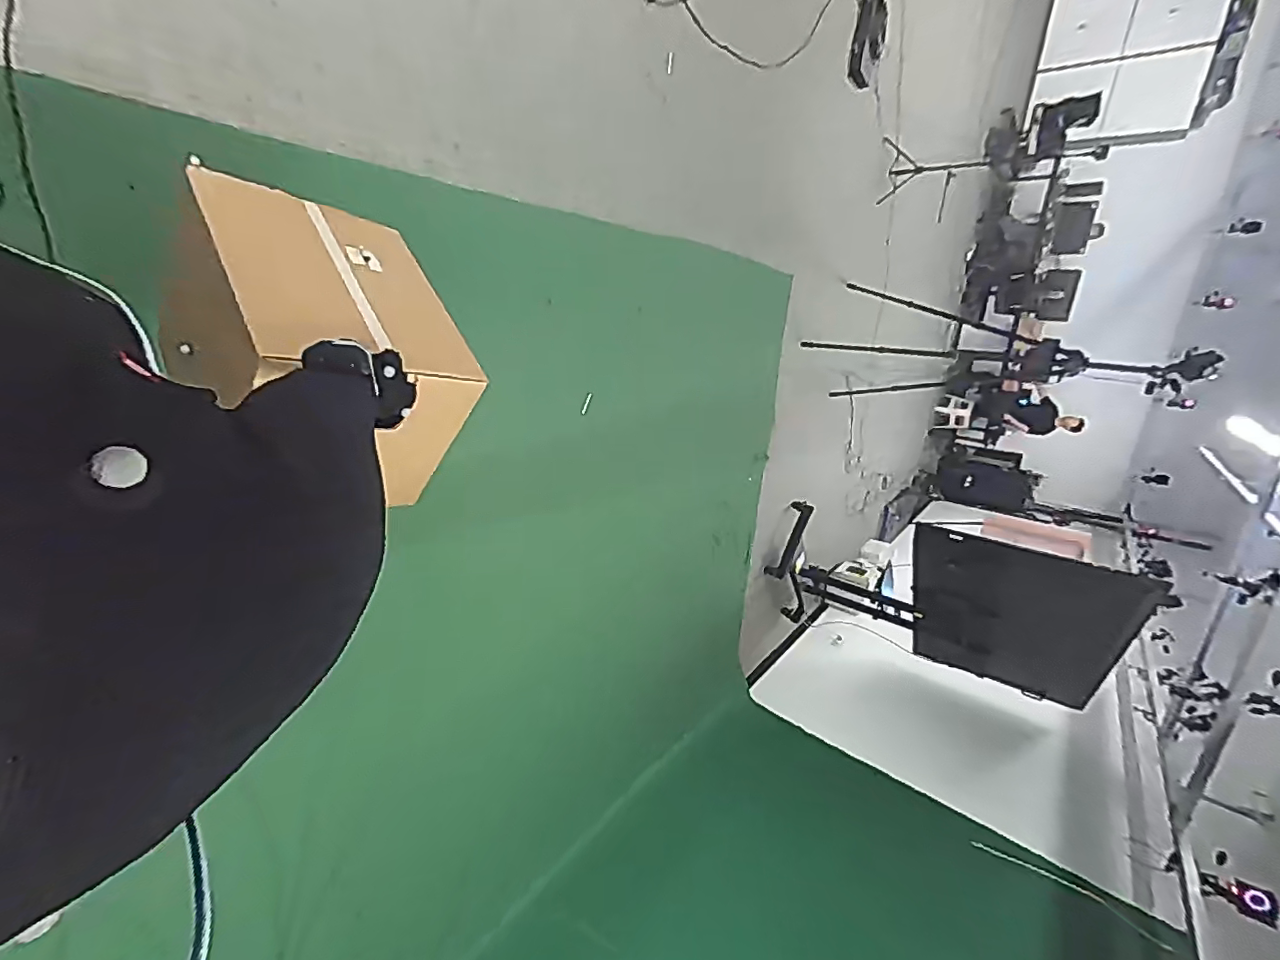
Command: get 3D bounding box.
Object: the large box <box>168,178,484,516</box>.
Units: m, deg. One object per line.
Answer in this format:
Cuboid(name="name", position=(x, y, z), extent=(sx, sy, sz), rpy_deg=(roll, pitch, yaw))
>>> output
Cuboid(name="large box", position=(-0.533, -0.199, 0.899), extent=(0.320, 0.408, 0.320), rpy_deg=(-4, 143, -52))
